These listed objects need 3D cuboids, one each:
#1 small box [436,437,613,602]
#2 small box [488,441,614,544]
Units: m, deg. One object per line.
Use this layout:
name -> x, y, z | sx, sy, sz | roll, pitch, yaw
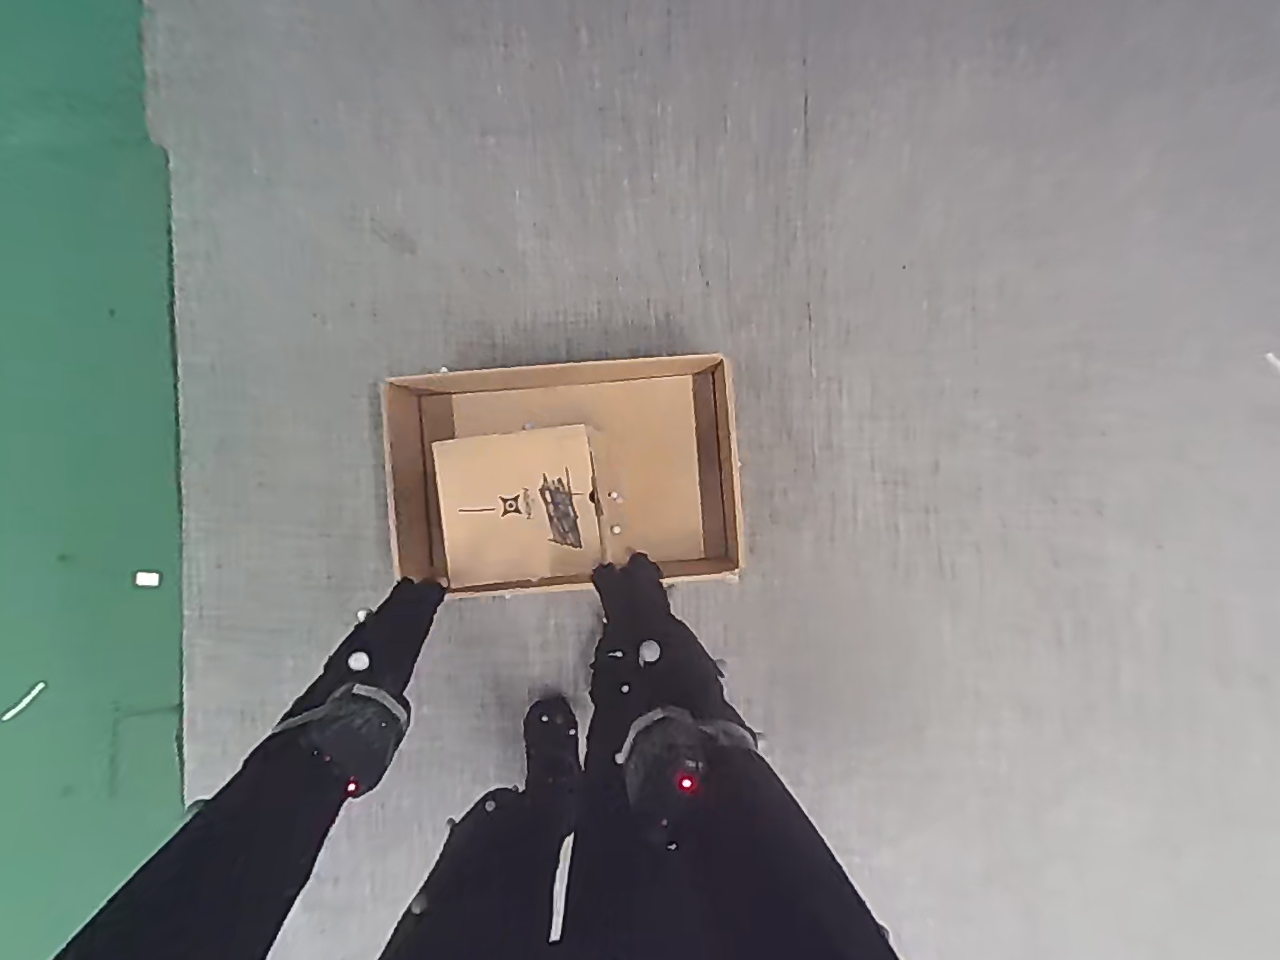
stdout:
small box -> -0.131, 0.042, 0.681 | 0.179, 0.176, 0.168 | -10, 90, 0
small box -> -0.129, 0.034, 0.845 | 0.168, 0.176, 0.179 | -3, 89, 1
